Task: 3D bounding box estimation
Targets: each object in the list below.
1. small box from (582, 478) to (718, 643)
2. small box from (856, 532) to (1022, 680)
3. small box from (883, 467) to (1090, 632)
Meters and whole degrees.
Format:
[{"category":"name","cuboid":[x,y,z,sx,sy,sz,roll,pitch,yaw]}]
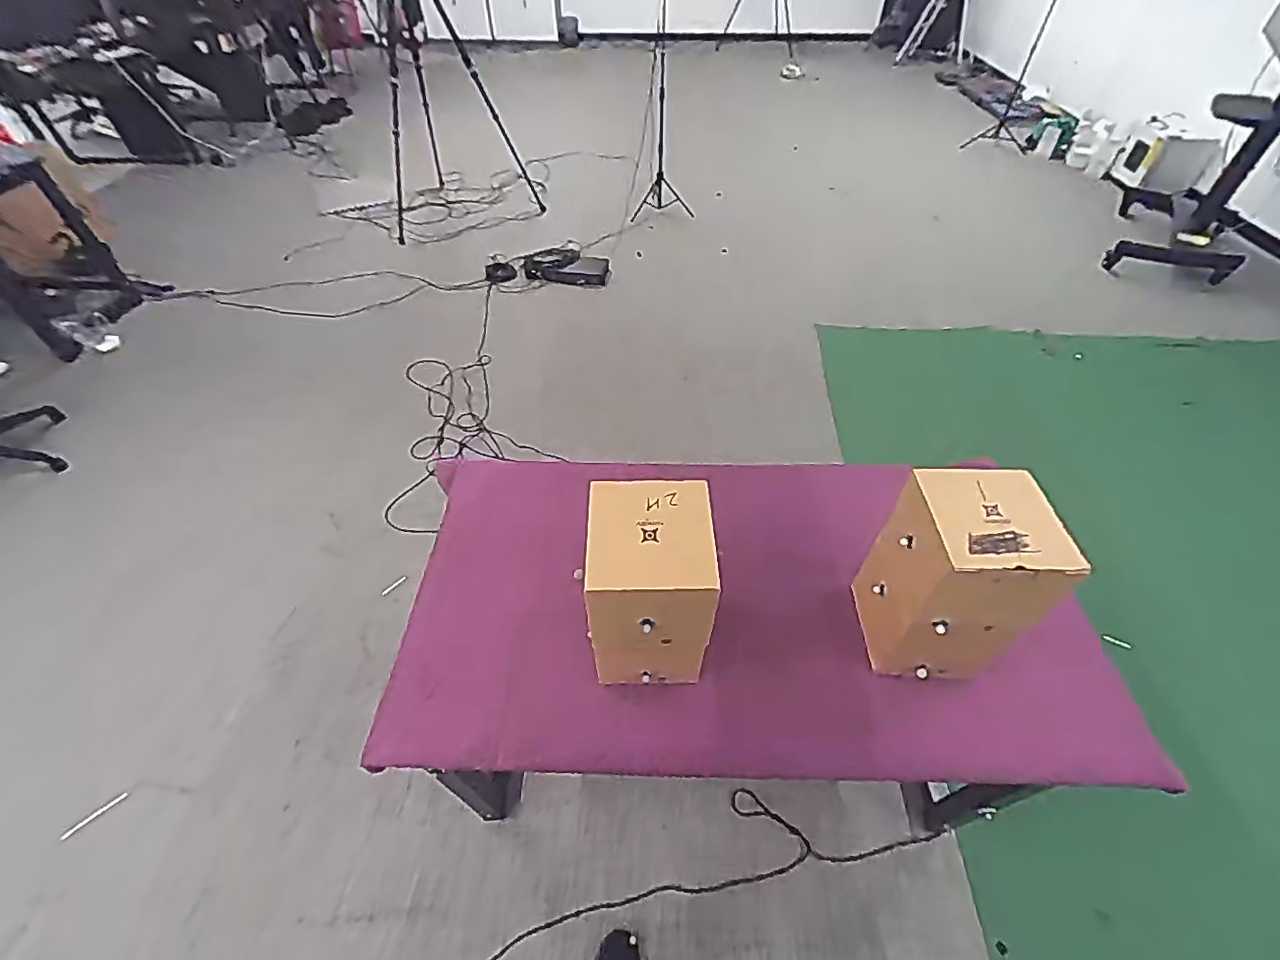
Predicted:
[{"category":"small box","cuboid":[0.014,0.117,0.756,0.168,0.176,0.179,0,49,0]},{"category":"small box","cuboid":[0.473,0.207,0.892,0.168,0.176,0.179,1,48,4]},{"category":"small box","cuboid":[0.469,0.100,0.768,0.168,0.176,0.179,1,46,3]}]
